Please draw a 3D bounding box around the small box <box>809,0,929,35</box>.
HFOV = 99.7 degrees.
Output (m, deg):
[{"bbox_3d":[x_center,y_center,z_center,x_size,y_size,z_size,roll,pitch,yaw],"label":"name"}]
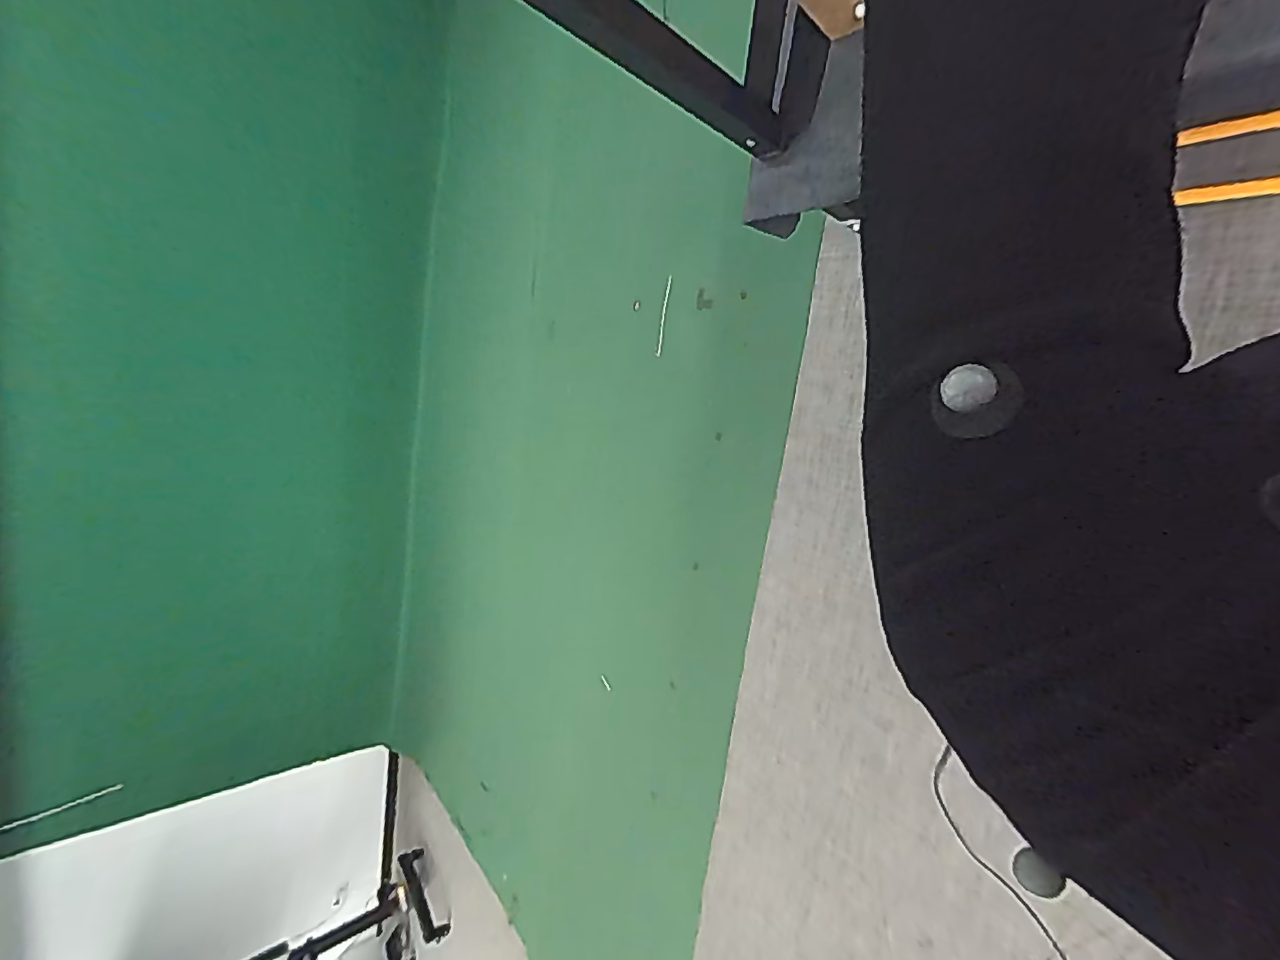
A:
[{"bbox_3d":[0.311,-0.763,0.727,0.168,0.176,0.179,18,104,46],"label":"small box"}]
